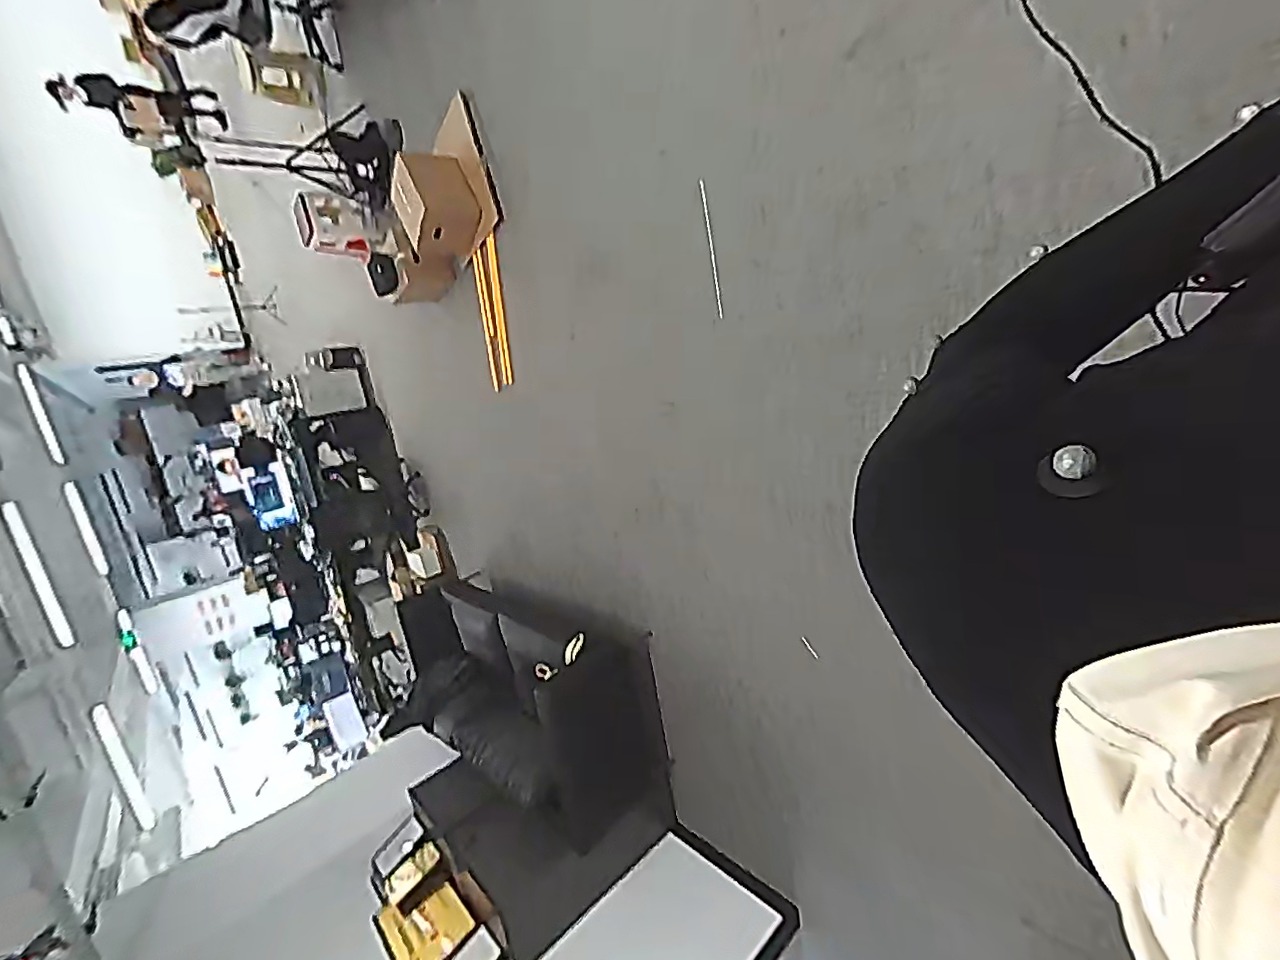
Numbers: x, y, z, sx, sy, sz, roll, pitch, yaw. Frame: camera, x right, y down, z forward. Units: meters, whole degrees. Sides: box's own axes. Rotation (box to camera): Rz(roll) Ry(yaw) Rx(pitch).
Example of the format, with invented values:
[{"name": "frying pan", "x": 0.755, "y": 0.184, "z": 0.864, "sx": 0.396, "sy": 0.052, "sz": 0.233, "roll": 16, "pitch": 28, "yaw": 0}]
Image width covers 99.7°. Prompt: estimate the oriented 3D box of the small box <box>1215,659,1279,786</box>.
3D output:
[{"name": "small box", "x": 1.305, "y": 0.500, "z": 1.099, "sx": 0.168, "sy": 0.176, "sz": 0.179, "roll": 9, "pitch": 112, "yaw": 46}]
